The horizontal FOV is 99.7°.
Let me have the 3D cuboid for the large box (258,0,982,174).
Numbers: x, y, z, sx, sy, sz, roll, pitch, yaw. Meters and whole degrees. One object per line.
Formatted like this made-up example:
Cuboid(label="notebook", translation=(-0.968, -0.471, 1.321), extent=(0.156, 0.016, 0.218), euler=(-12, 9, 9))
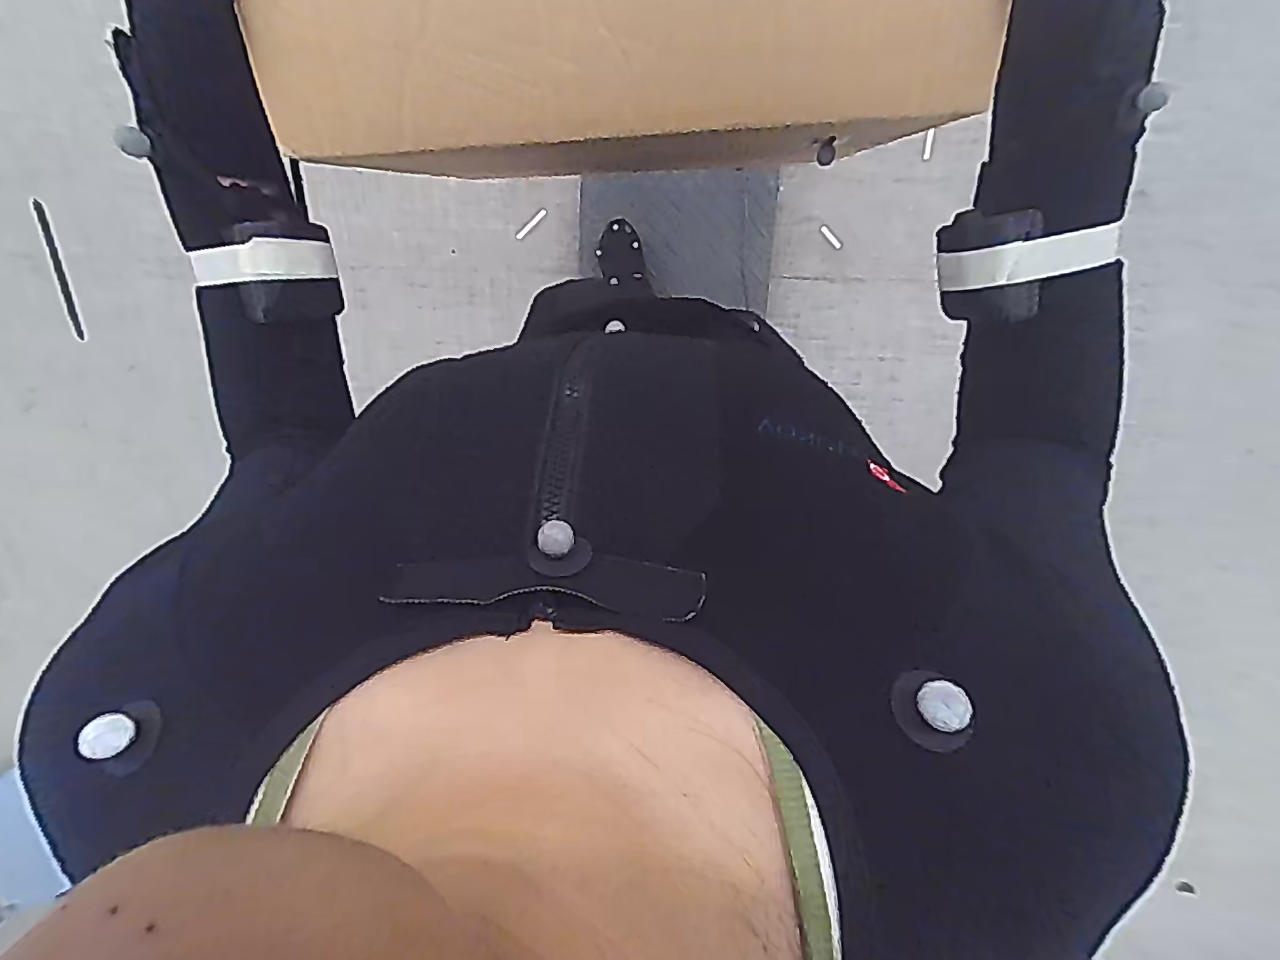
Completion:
Cuboid(label="large box", translation=(-0.010, -0.411, 0.385), extent=(0.408, 0.320, 0.320), euler=(0, 116, 6))
